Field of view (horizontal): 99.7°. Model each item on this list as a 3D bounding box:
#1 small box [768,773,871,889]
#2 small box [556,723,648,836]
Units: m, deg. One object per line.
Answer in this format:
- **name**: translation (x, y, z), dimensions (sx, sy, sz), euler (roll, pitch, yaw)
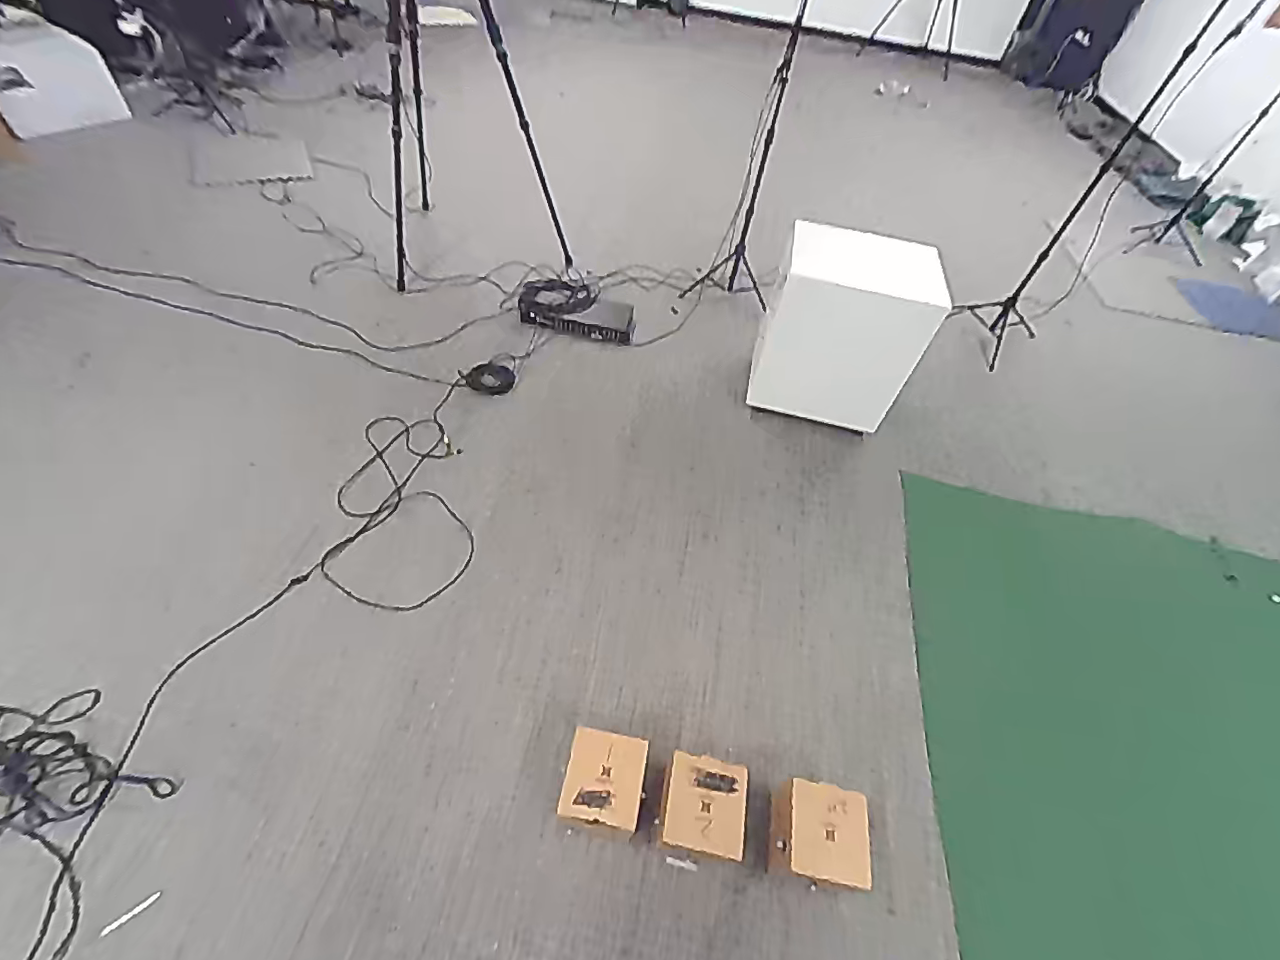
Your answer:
- **small box**: translation (0.386, 0.774, 1.185), dimensions (0.168, 0.176, 0.179), euler (13, 50, 2)
- **small box**: translation (-0.083, 0.671, 1.204), dimensions (0.168, 0.176, 0.179), euler (11, 49, 2)
